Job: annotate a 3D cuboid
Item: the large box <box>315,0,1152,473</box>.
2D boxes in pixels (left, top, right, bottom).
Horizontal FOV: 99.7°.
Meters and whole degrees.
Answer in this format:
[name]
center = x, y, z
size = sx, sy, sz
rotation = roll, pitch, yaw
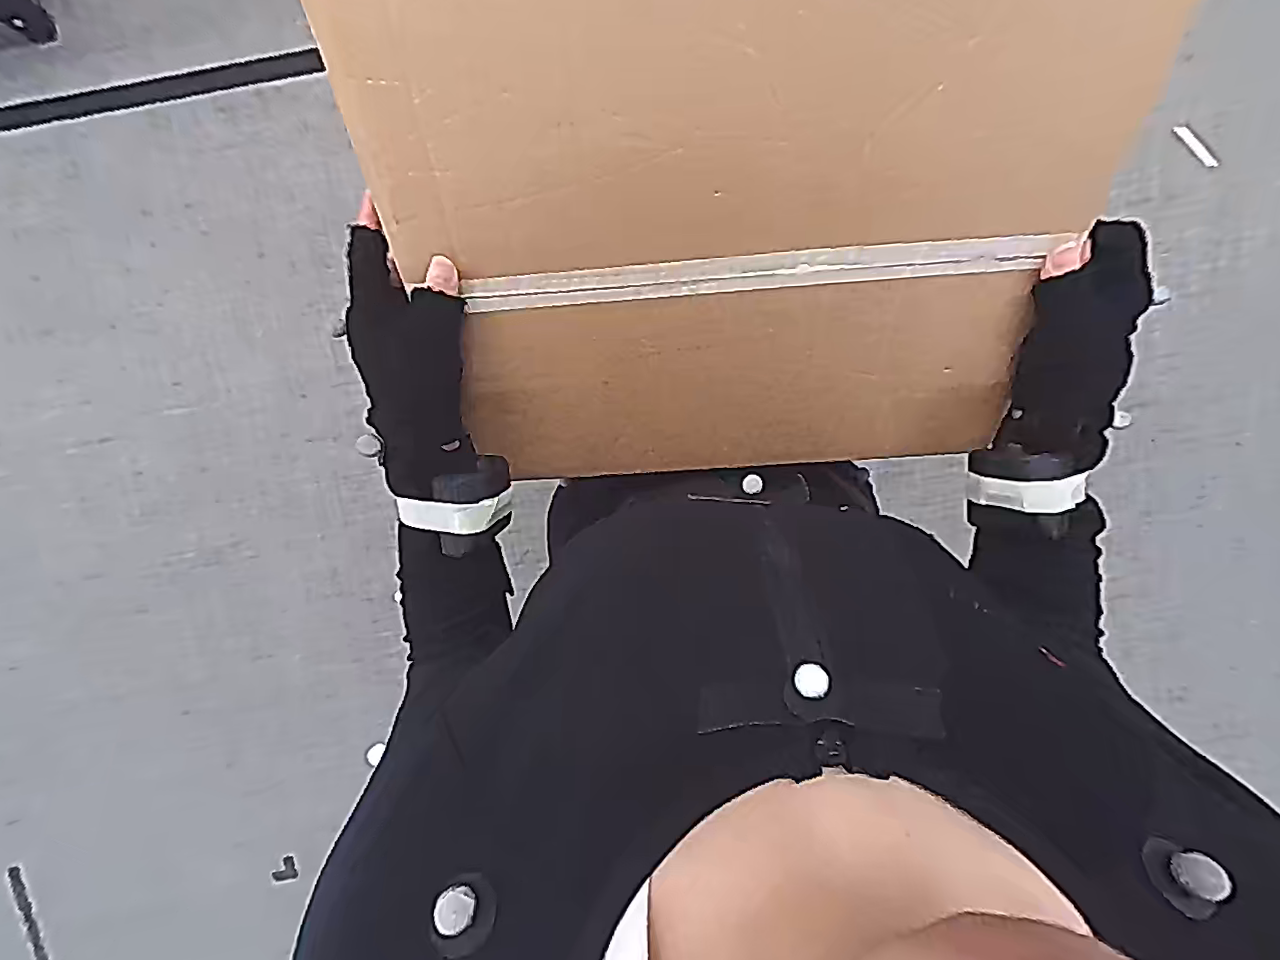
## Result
[large box]
center = 0.051, -0.232, 0.450
size = 0.408, 0.320, 0.320
rotation = -4, 133, 2
